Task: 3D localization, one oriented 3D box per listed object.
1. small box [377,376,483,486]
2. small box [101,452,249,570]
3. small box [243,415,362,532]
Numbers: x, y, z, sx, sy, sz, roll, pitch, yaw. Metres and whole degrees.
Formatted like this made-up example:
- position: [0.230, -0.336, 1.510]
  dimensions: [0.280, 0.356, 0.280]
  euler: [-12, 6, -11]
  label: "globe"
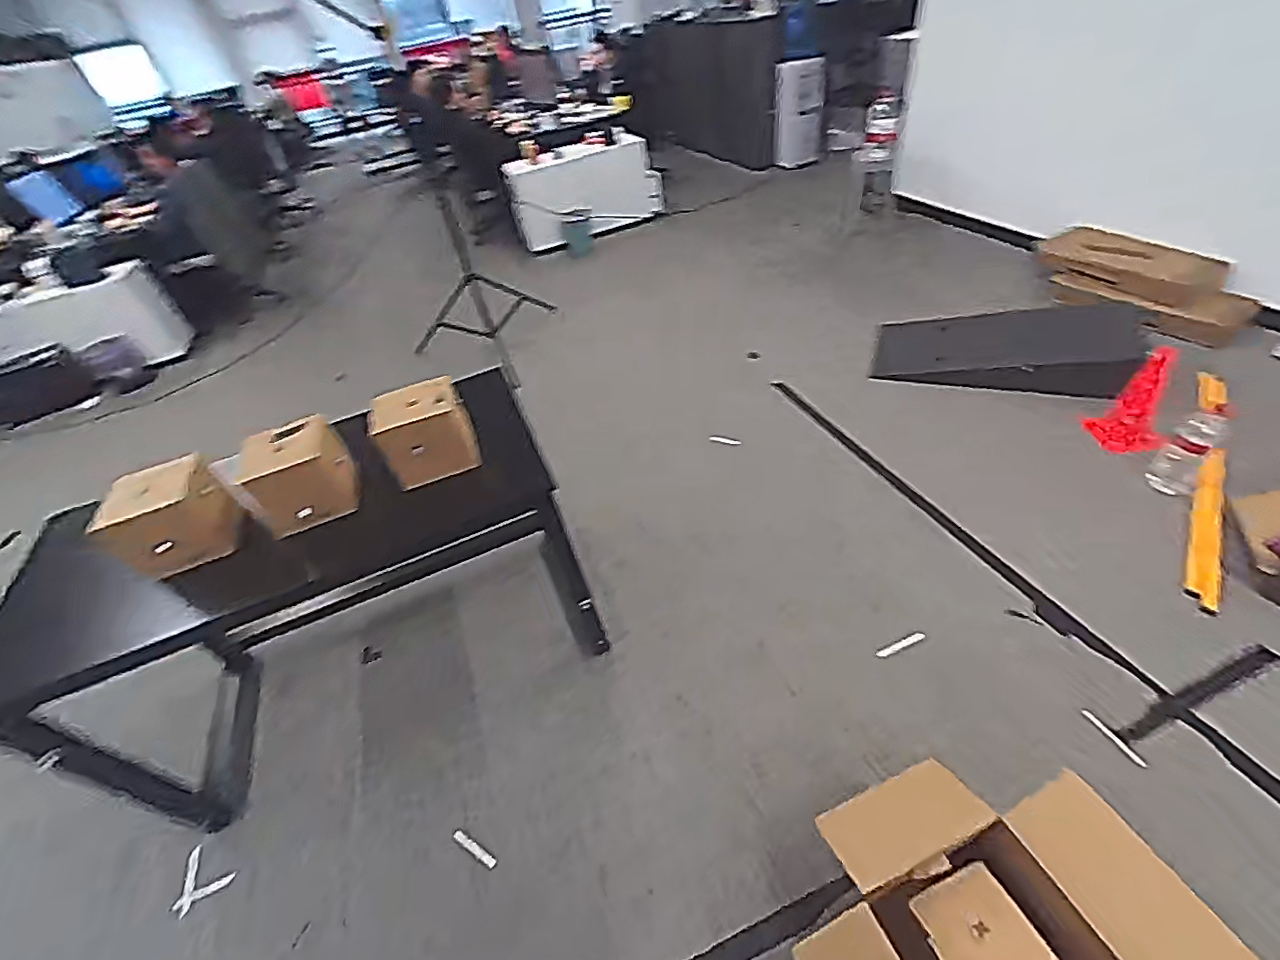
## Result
- position: [-0.491, -0.113, 1.272]
  dimensions: [0.179, 0.176, 0.168]
  euler: [-20, 43, -8]
  label: "small box"
- position: [-0.997, 0.073, 1.182]
  dimensions: [0.168, 0.176, 0.179]
  euler: [-21, 43, -11]
  label: "small box"
- position: [-0.750, -0.015, 1.224]
  dimensions: [0.168, 0.176, 0.179]
  euler: [-21, 44, -10]
  label: "small box"
